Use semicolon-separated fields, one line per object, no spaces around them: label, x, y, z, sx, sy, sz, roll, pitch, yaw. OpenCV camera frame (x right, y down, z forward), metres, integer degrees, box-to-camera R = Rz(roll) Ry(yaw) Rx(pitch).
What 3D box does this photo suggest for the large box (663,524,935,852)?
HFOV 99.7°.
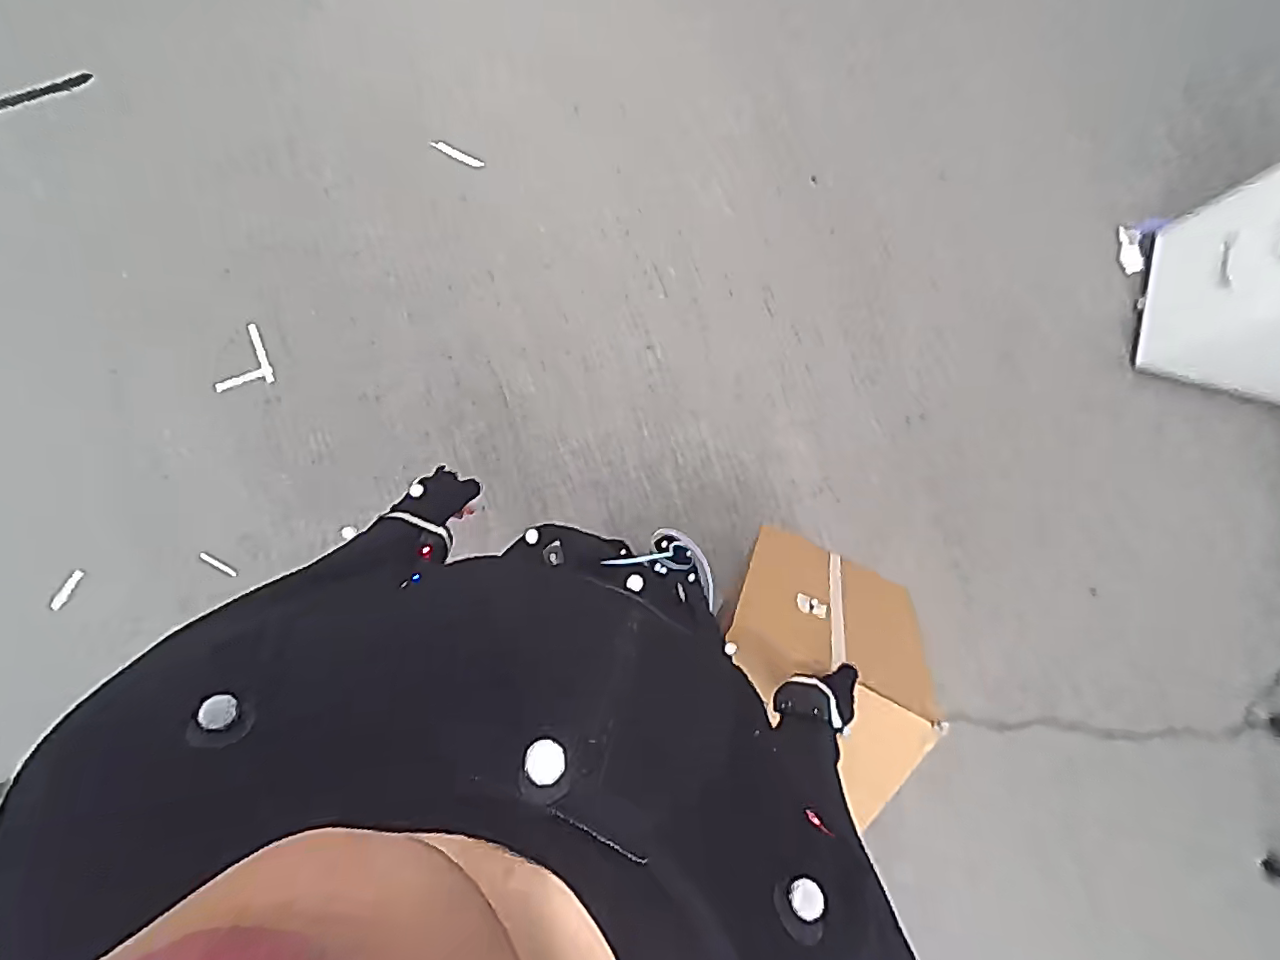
large box;0.278;0.344;0.996;0.320;0.408;0.320;25;114;11
